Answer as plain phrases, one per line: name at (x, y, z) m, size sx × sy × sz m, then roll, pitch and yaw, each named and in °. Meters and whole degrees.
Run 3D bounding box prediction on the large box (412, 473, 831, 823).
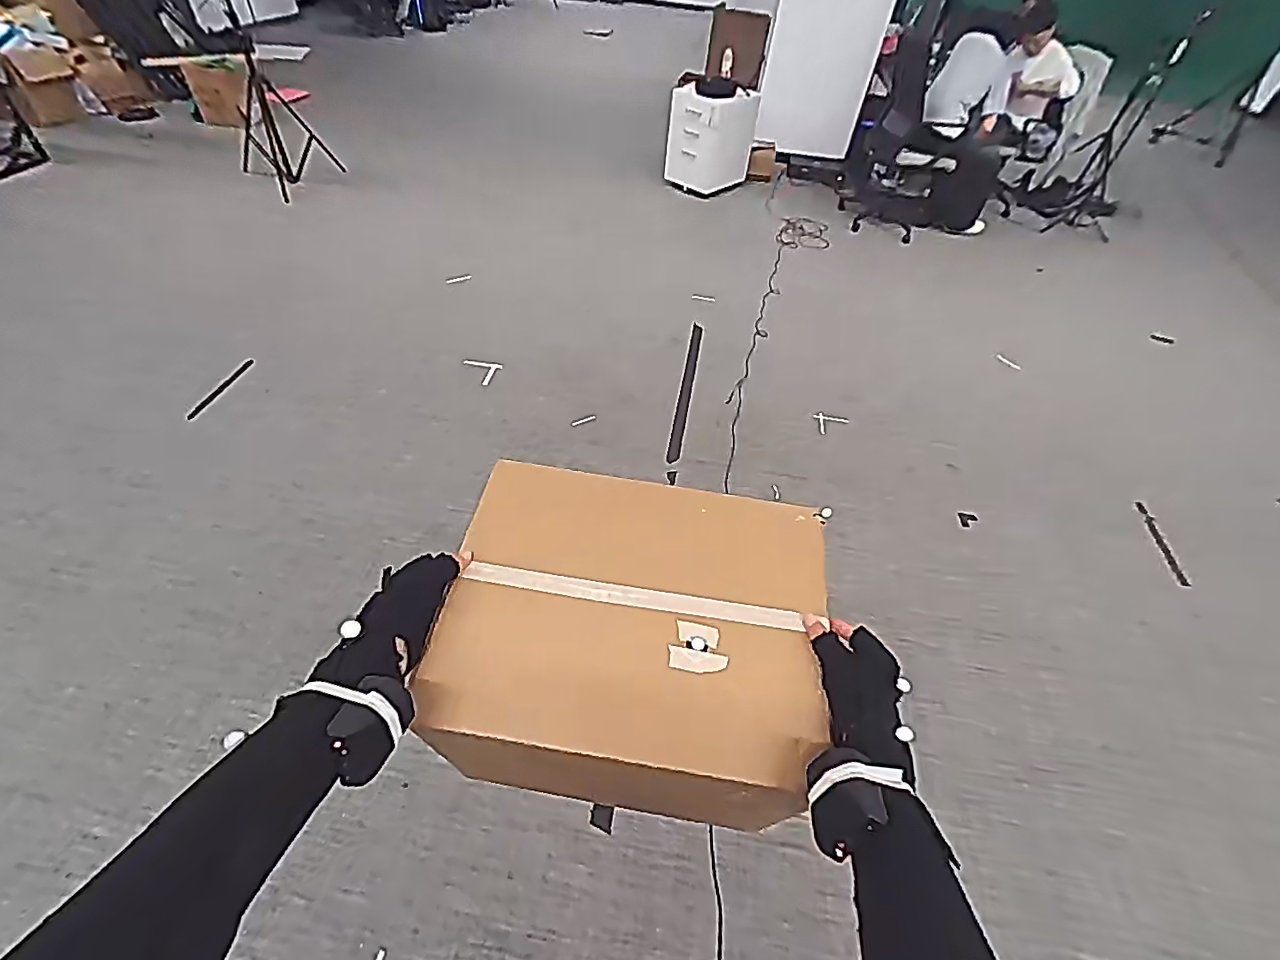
large box at (-0.013, 0.226, 0.707) m, size 0.408 × 0.320 × 0.320 m, roll 9°, pitch 53°, yaw 2°
